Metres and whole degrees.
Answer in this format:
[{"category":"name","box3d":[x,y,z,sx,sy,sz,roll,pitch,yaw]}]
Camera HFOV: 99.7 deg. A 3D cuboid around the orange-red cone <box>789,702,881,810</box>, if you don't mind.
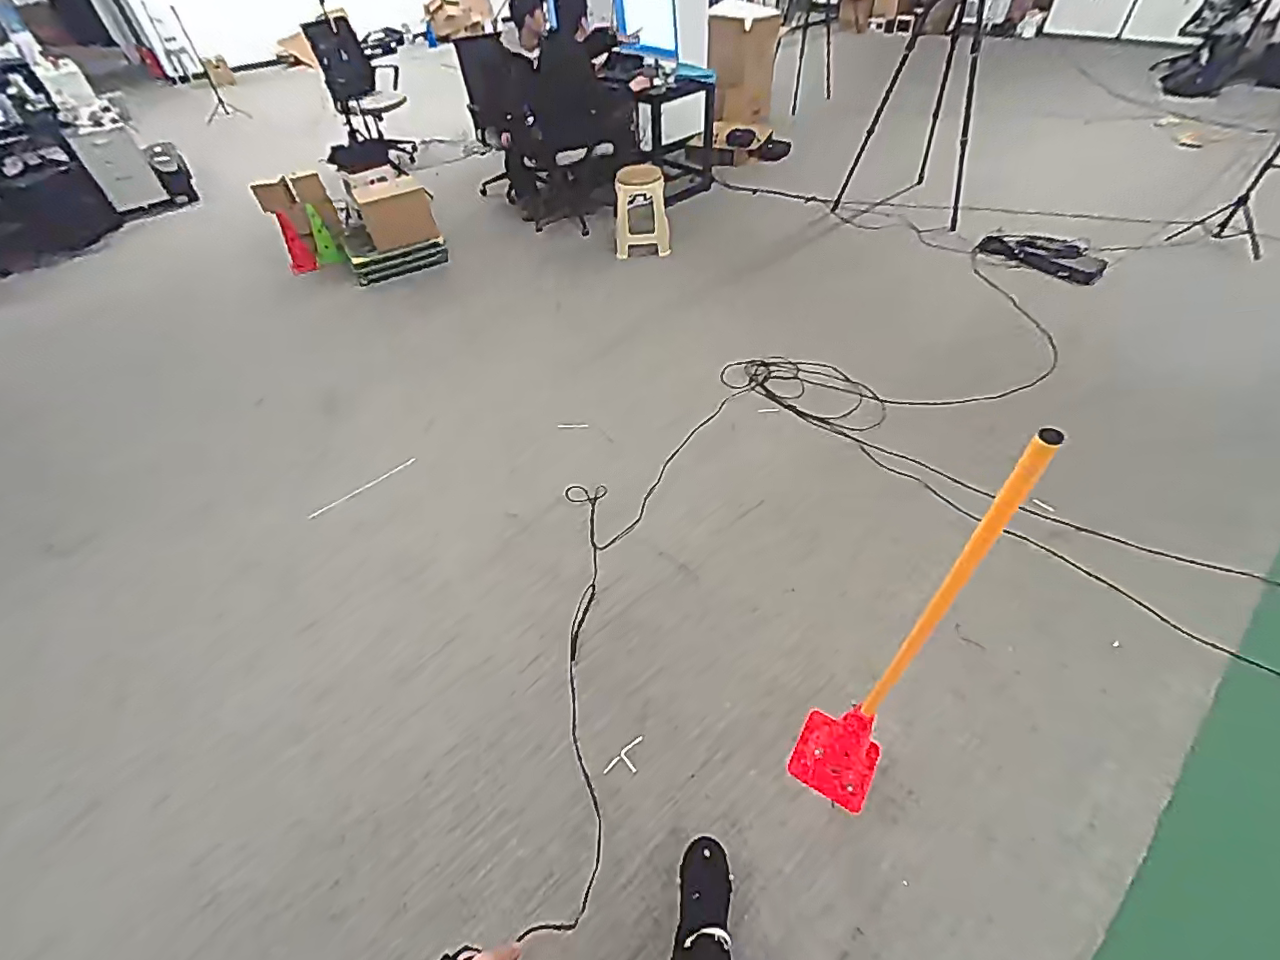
[{"category":"orange-red cone","box3d":[0.515,0.626,1.323,0.198,0.360,0.199,25,53,24]}]
